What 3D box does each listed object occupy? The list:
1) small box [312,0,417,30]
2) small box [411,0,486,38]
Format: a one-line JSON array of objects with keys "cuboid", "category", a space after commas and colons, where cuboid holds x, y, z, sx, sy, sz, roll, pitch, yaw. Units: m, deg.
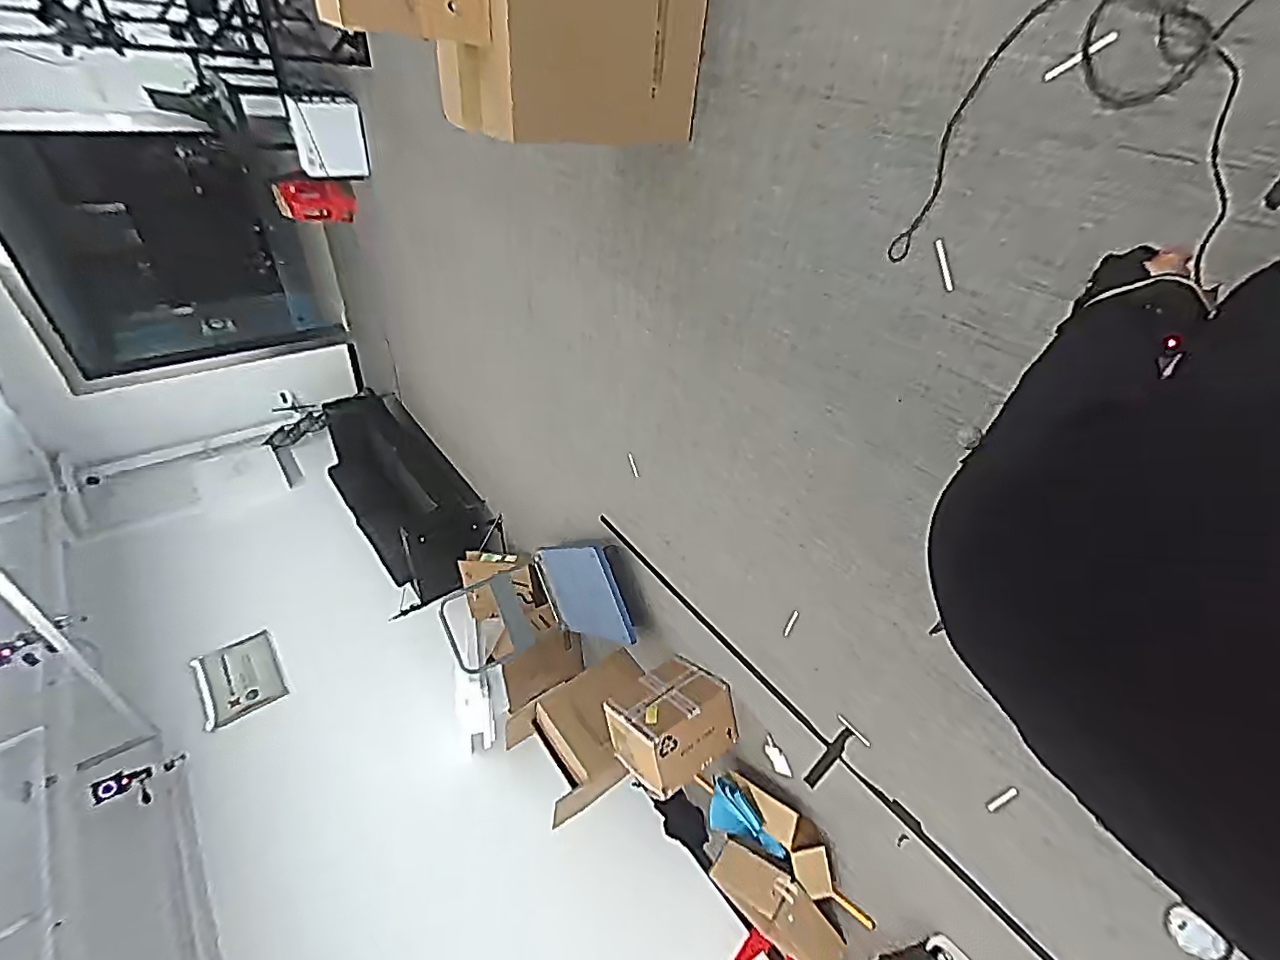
[{"cuboid": [-0.591, -1.067, 1.137, 0.179, 0.176, 0.168, 44, 142, 32], "category": "small box"}, {"cuboid": [-0.458, -1.117, 1.222, 0.179, 0.176, 0.168, 42, 141, 34], "category": "small box"}]
